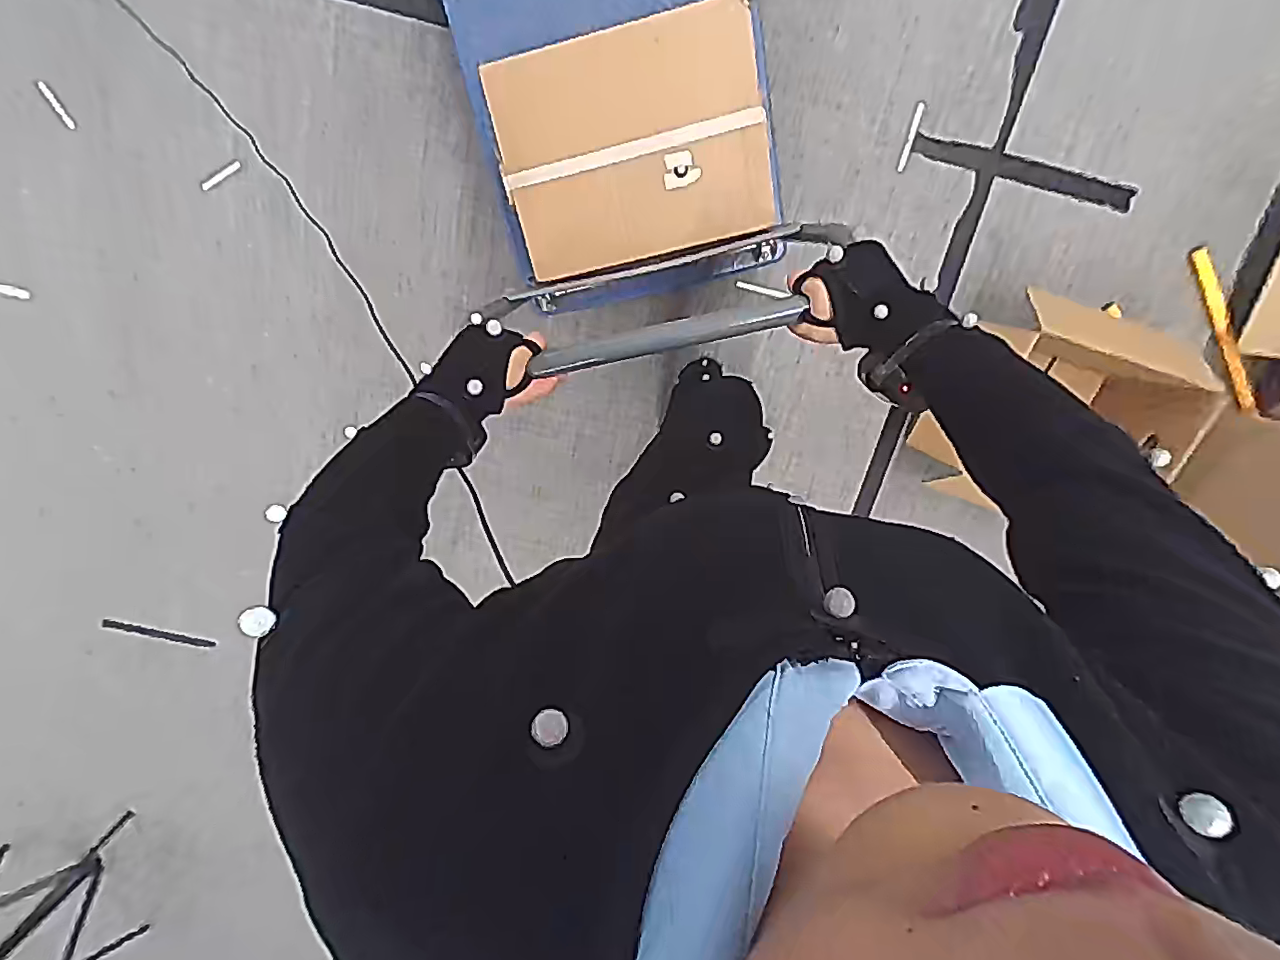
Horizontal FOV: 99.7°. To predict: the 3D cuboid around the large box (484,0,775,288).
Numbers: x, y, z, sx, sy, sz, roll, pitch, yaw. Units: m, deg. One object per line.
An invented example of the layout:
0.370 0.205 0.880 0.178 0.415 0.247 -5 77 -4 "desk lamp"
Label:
-0.006 -0.554 0.974 0.408 0.320 0.320 -11 111 6 "large box"
